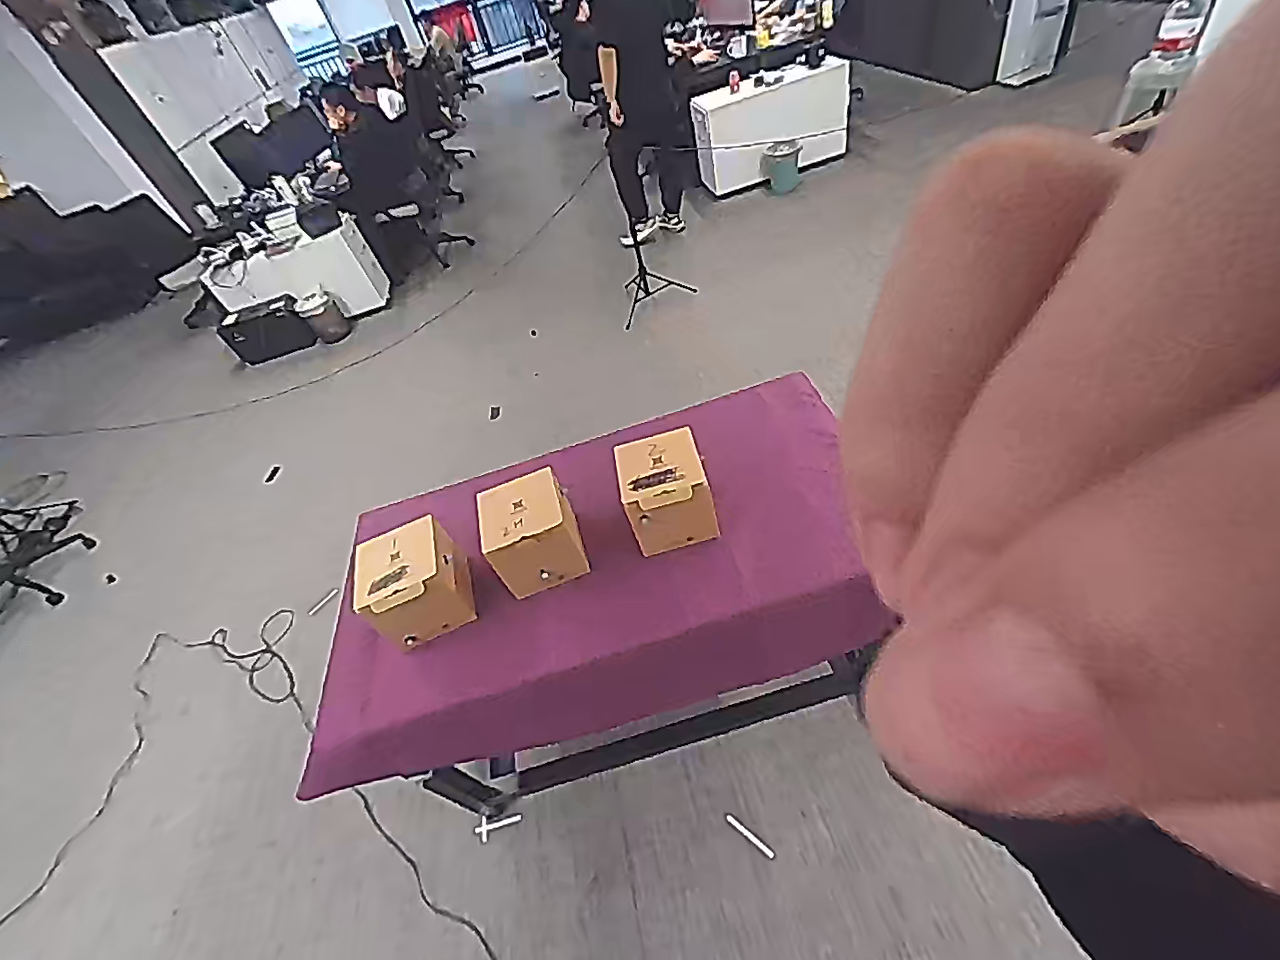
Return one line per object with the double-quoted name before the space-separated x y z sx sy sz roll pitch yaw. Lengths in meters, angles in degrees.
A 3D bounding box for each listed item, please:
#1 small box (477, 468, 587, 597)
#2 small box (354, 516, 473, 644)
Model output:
"small box" -0.226 0.112 1.135 0.168 0.176 0.179 -22 46 -2
"small box" -0.461 0.213 1.116 0.168 0.176 0.179 -24 45 -5
